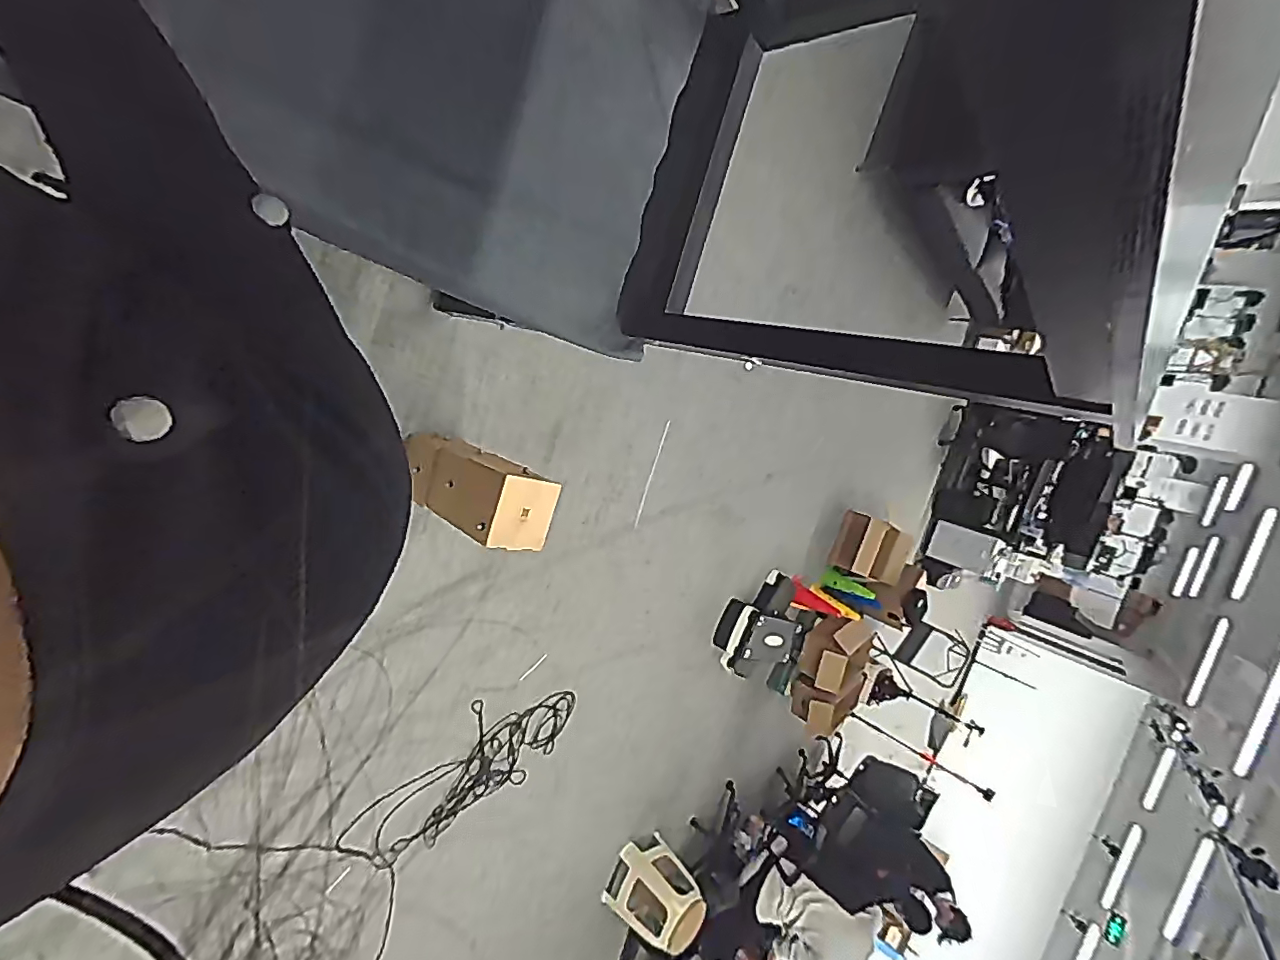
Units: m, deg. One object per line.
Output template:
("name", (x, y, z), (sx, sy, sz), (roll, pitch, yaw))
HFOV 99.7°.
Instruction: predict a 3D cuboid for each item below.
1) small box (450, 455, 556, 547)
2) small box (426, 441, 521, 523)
("small box", (-0.337, 0.048, 1.311), (0.168, 0.176, 0.179), (13, 97, -48))
("small box", (-0.444, 0.009, 1.429), (0.168, 0.176, 0.179), (9, 99, -48))
